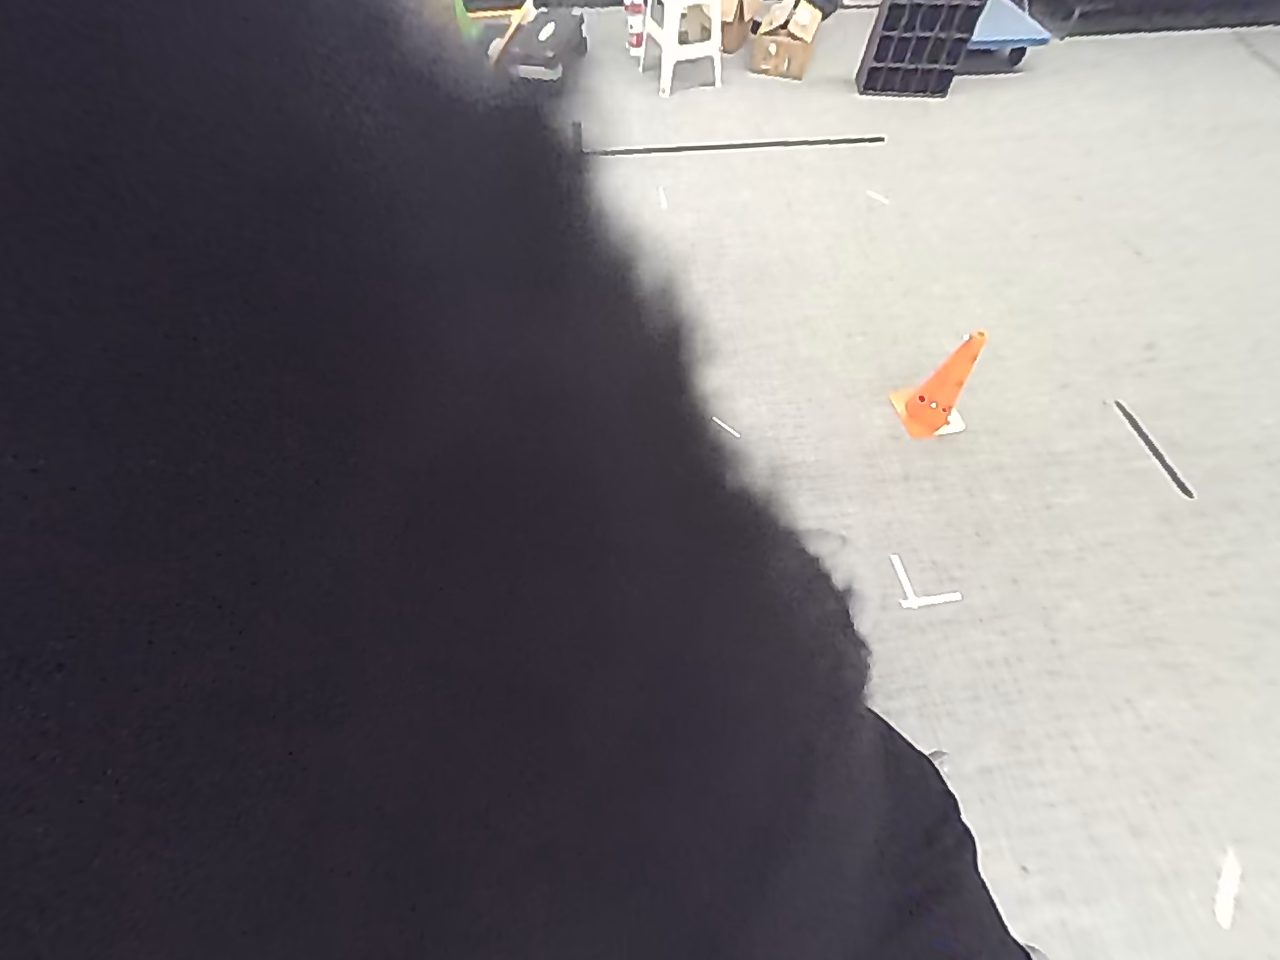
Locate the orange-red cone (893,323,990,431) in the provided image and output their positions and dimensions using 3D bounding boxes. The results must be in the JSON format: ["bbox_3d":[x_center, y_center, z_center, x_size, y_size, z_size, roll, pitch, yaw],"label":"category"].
[{"bbox_3d":[0.980,-0.342,1.691,0.198,0.360,0.199,-8,57,-6],"label":"orange-red cone"}]
